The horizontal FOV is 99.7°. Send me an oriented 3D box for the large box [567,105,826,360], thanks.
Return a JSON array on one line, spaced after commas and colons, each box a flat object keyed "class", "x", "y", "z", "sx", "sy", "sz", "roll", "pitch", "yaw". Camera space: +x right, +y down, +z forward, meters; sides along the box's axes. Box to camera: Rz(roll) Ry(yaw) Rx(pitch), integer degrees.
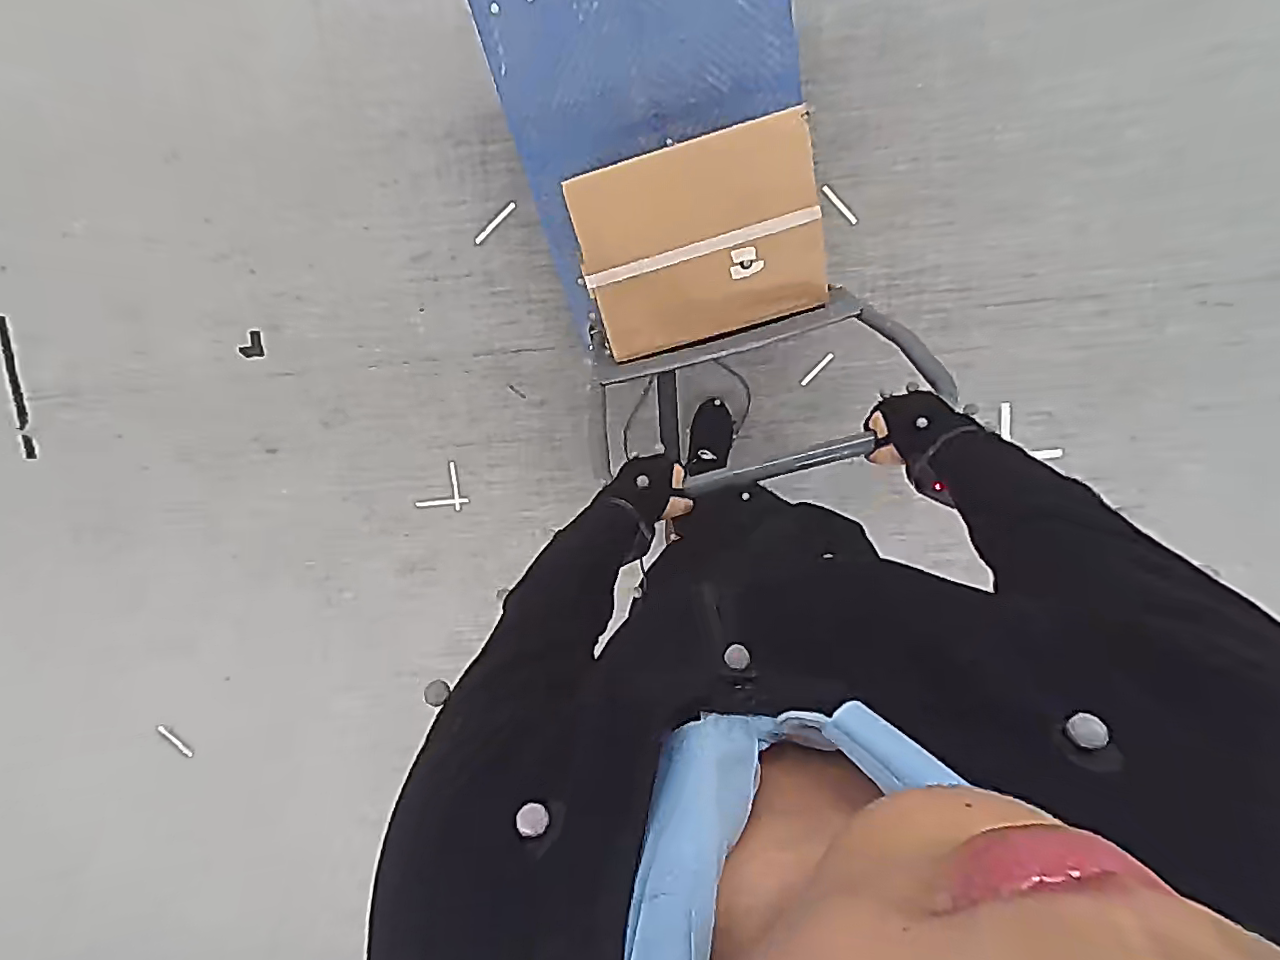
[{"class": "large box", "x": 0.101, "y": -0.477, "z": 1.072, "sx": 0.408, "sy": 0.320, "sz": 0.320, "roll": -16, "pitch": 118, "yaw": 5}]
